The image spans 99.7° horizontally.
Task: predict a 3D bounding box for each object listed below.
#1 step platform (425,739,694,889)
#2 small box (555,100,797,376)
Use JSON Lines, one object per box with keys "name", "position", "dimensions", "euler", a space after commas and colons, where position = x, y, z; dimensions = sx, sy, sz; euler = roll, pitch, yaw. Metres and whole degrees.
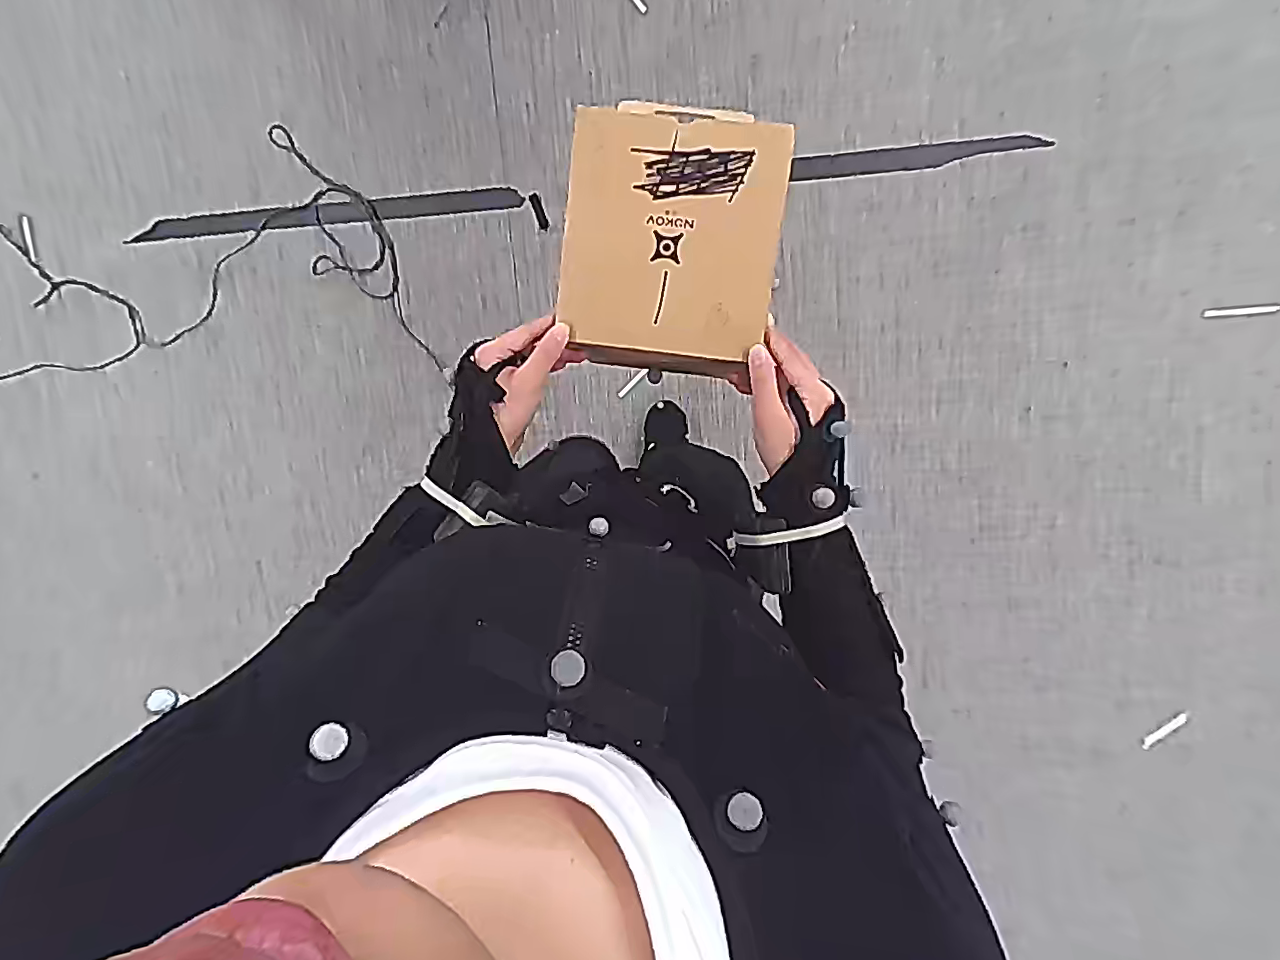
{"name": "step platform", "position": [-0.201, 0.871, 1.408], "dimensions": [0.684, 0.204, 0.286], "euler": [-4, 98, 4]}
{"name": "small box", "position": [0.030, -0.198, 0.491], "dimensions": [0.168, 0.176, 0.179], "euler": [8, 97, 4]}
